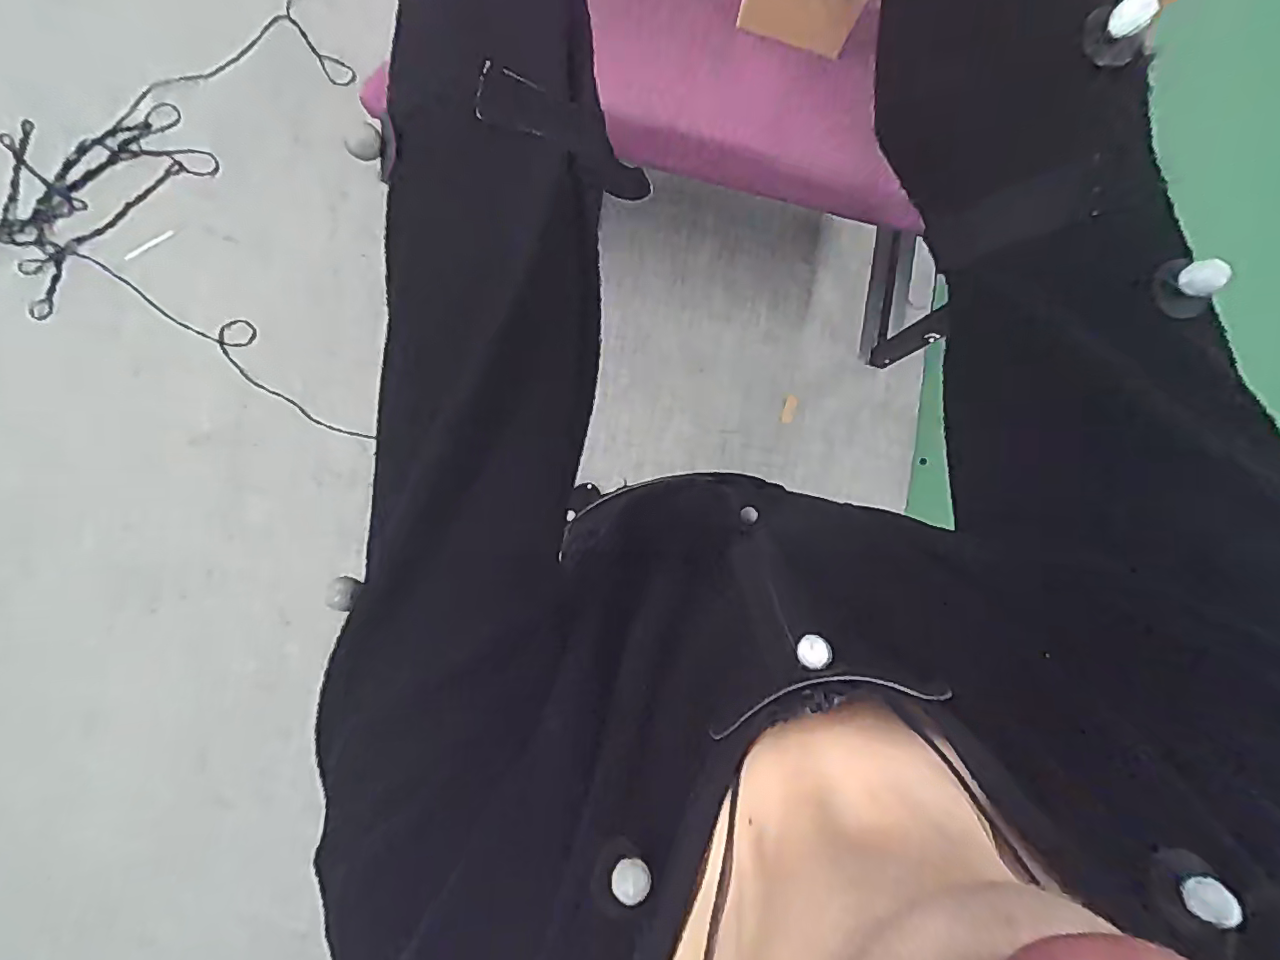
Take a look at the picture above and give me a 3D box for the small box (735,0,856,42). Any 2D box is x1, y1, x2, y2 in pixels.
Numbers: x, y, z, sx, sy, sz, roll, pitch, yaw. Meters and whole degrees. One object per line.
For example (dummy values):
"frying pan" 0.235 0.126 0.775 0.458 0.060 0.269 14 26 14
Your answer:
"small box" 0.261 -0.809 0.804 0.179 0.176 0.168 14 84 -5

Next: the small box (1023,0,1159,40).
"small box" 0.609 -0.708 0.670 0.179 0.176 0.168 20 83 -5
